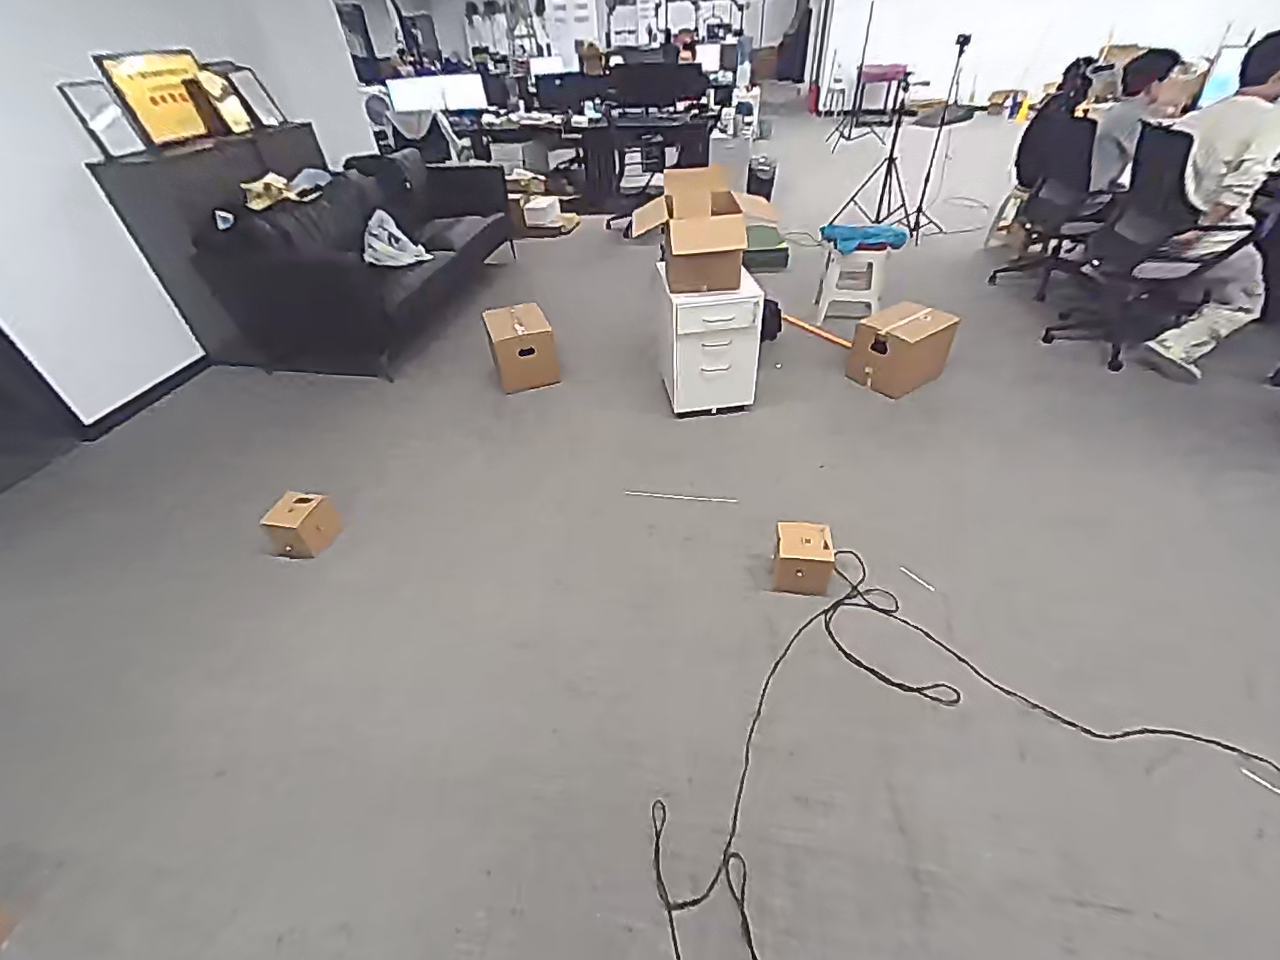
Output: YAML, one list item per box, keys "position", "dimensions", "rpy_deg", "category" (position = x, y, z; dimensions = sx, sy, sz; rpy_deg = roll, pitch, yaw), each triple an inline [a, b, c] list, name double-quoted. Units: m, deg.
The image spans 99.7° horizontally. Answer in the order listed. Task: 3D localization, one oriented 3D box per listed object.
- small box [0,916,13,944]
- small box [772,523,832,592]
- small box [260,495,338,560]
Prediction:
- position: [-1.533, 0.995, 1.147]
  dimensions: [0.179, 0.176, 0.168]
  rpy_deg: [8, 42, 14]
  category: "small box"
- position: [0.544, 0.266, 1.842]
  dimensions: [0.179, 0.176, 0.168]
  rpy_deg: [2, 41, 9]
  category: "small box"
- position: [-1.312, 0.185, 2.101]
  dimensions: [0.168, 0.176, 0.179]
  rpy_deg: [5, 41, 11]
  category: "small box"
